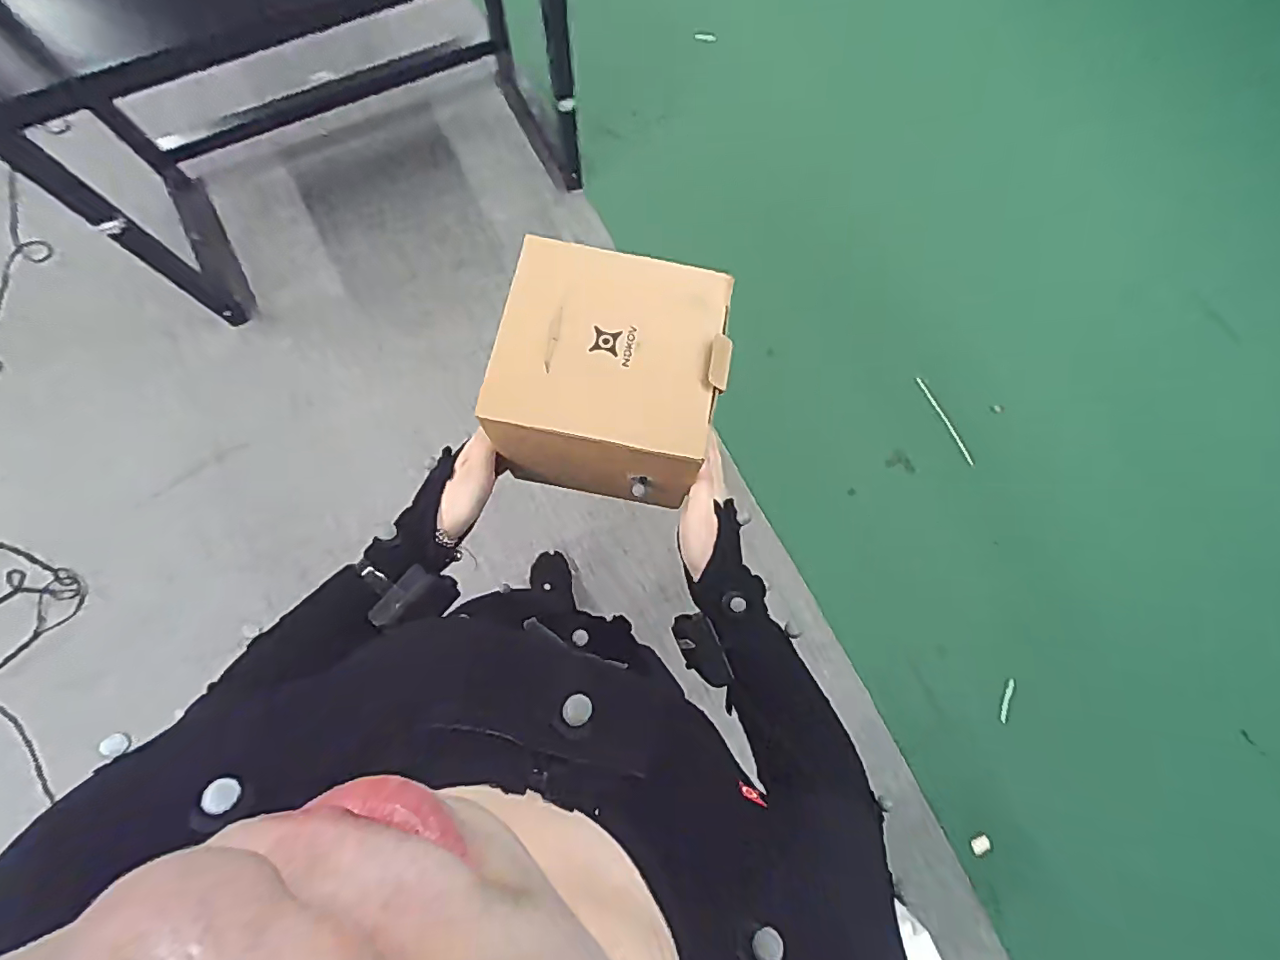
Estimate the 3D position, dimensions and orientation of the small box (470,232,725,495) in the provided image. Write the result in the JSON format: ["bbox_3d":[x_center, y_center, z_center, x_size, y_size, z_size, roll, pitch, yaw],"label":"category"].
[{"bbox_3d":[-0.032,-0.091,0.499,0.179,0.176,0.168,10,74,0],"label":"small box"}]
